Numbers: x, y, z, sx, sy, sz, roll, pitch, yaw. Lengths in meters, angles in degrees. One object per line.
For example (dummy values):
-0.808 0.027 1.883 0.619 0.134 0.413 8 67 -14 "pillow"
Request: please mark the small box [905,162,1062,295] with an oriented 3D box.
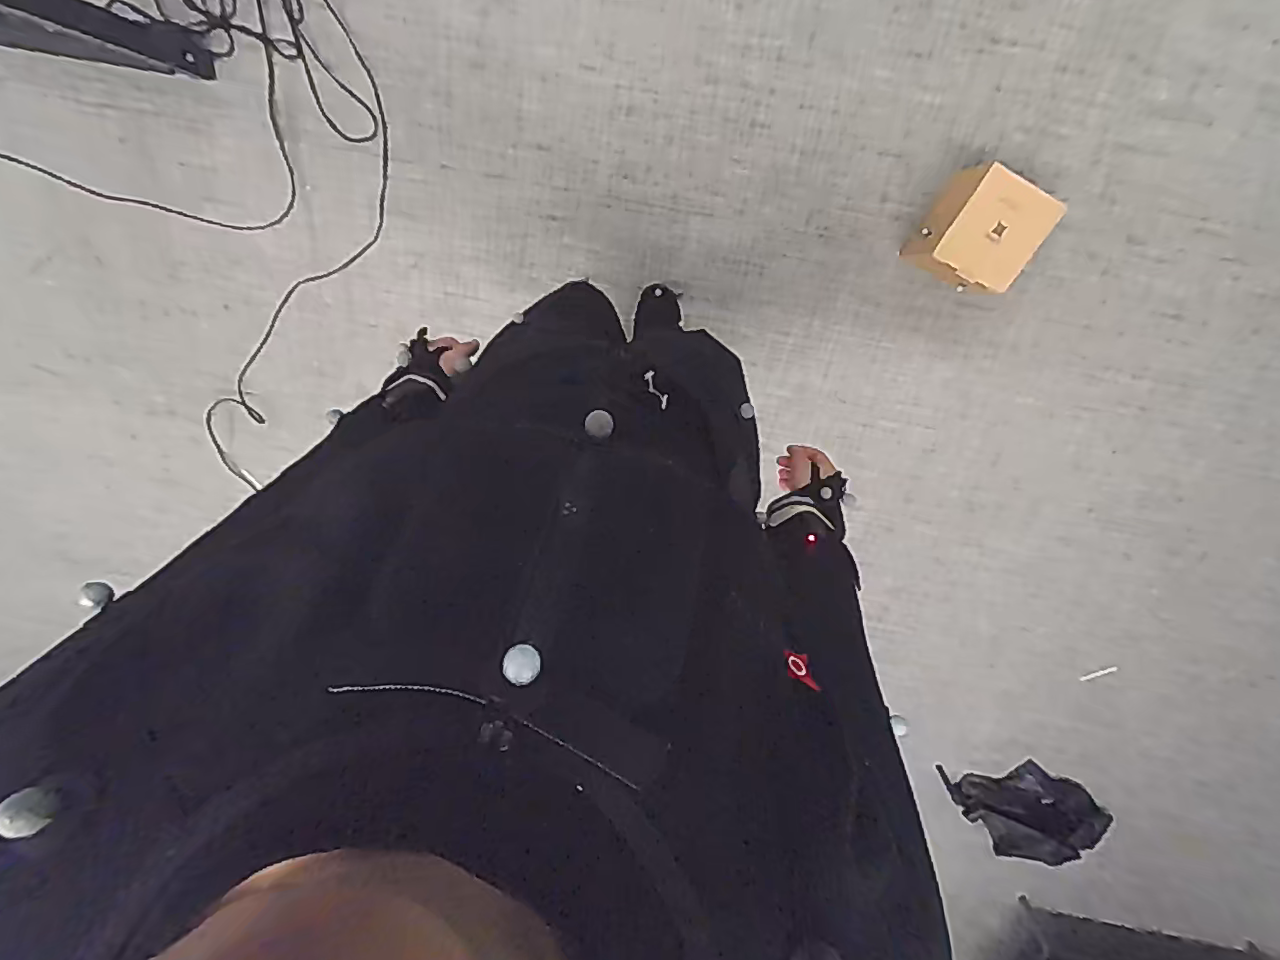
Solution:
0.658 -0.487 1.067 0.168 0.176 0.179 26 112 -7 "small box"
